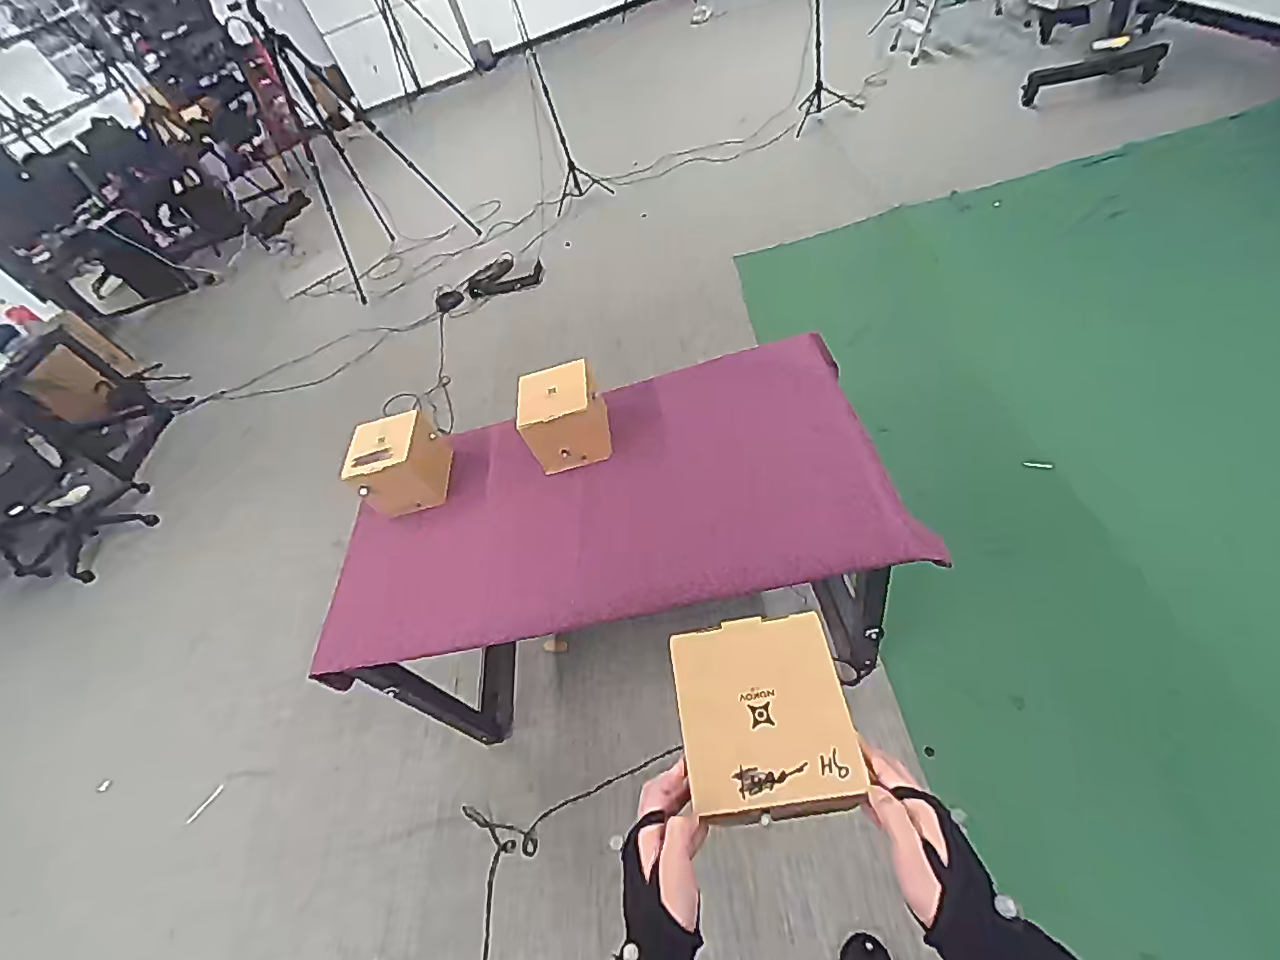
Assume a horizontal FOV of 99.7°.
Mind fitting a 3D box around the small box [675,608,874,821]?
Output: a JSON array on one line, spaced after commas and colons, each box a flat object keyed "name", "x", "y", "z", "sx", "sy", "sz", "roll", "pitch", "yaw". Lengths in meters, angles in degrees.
[{"name": "small box", "x": 0.138, "y": 0.265, "z": 0.601, "sx": 0.168, "sy": 0.176, "sz": 0.179, "roll": -11, "pitch": 54, "yaw": 6}]

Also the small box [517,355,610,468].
[{"name": "small box", "x": -0.175, "y": -0.157, "z": 1.262, "sx": 0.168, "sy": 0.176, "sz": 0.179, "roll": -14, "pitch": 50, "yaw": 7}]
